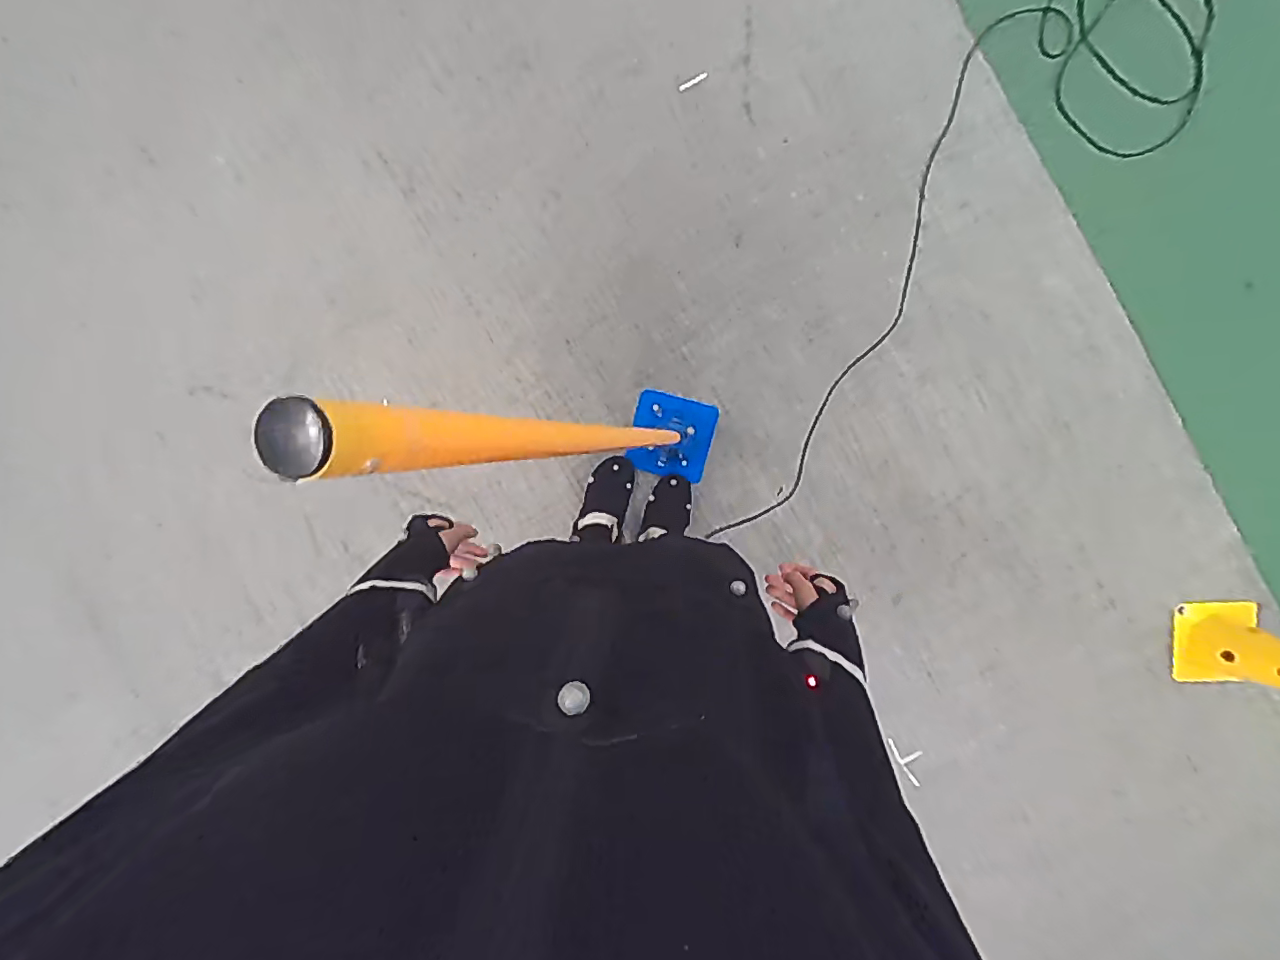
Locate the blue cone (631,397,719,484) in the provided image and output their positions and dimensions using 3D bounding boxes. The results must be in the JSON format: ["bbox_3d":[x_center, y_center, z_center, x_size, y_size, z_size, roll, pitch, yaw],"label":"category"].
[{"bbox_3d":[0.073,-0.080,1.132,0.193,0.380,0.192,14,95,2],"label":"blue cone"}]
